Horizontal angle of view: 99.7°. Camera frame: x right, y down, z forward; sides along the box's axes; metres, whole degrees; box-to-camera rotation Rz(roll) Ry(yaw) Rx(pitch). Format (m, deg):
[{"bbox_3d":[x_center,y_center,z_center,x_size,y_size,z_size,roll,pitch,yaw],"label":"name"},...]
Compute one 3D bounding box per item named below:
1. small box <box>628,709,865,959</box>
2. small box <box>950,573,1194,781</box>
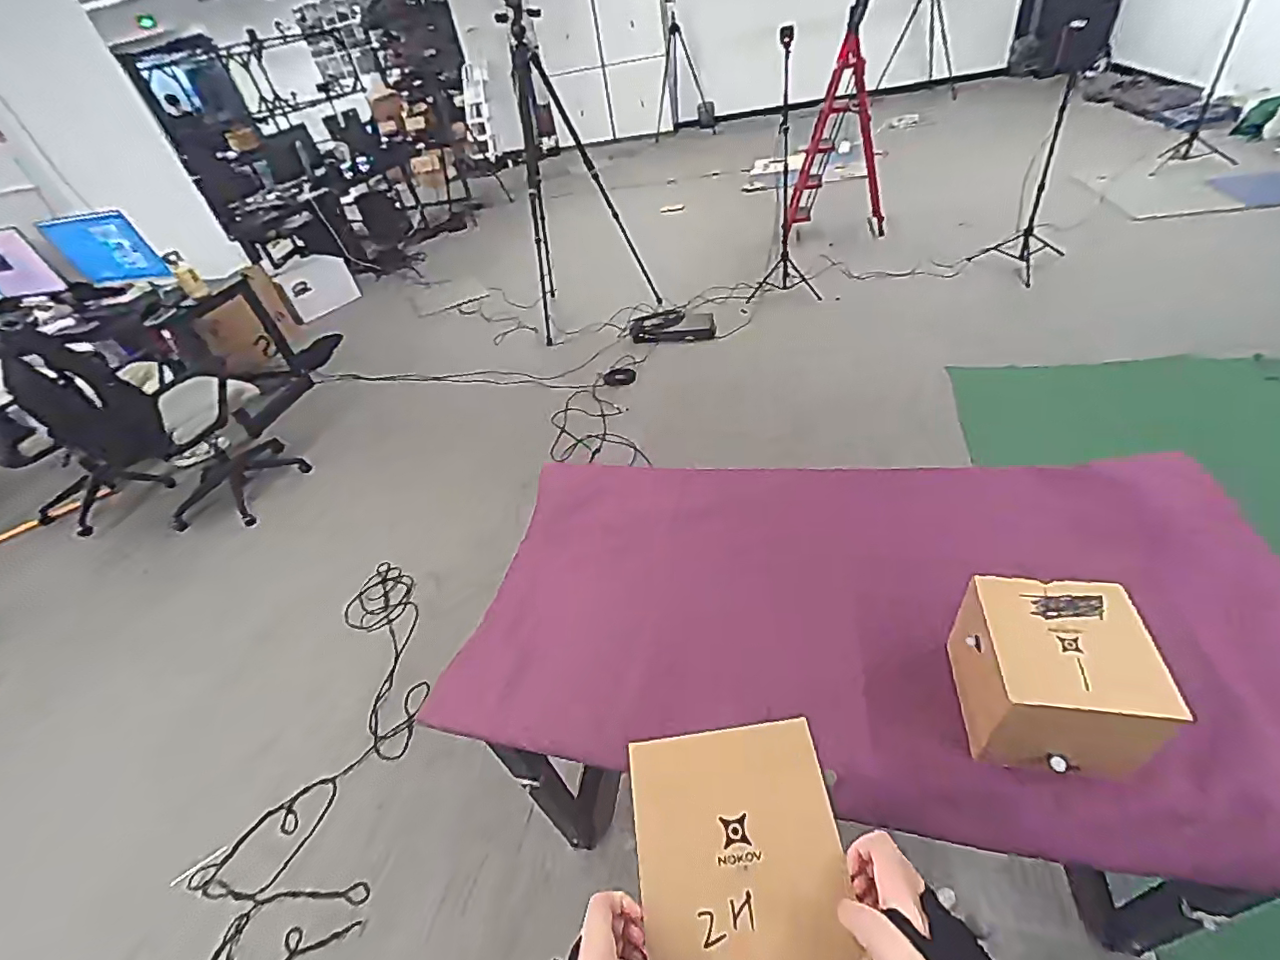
[{"bbox_3d":[0.087,0.332,0.502,0.168,0.176,0.179,-10,54,5],"label":"small box"},{"bbox_3d":[0.504,0.239,0.670,0.168,0.176,0.179,1,42,15],"label":"small box"}]
